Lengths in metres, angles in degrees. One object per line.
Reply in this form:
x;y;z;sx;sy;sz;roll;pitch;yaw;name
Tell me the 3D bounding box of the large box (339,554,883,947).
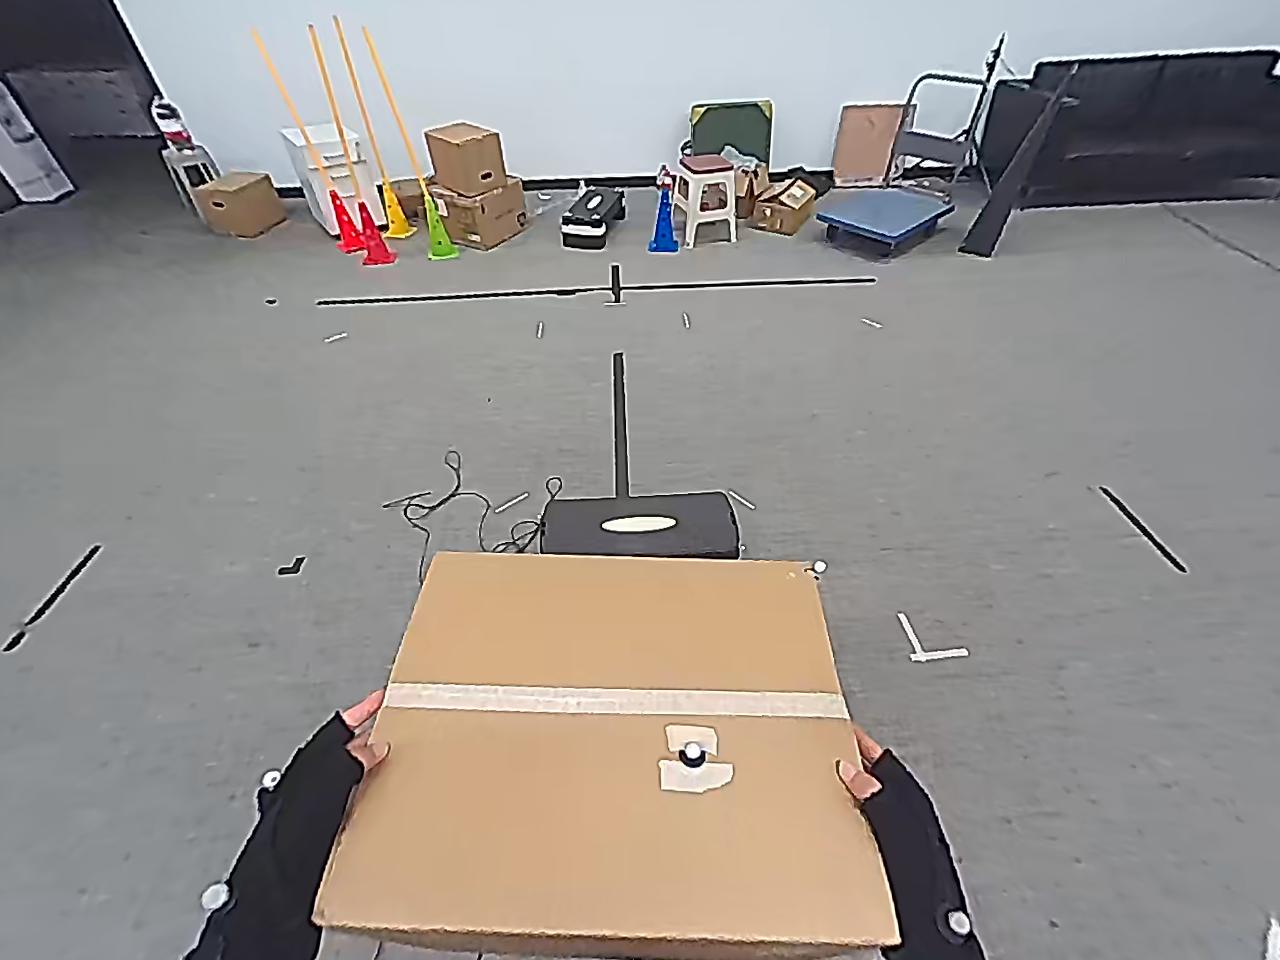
-0.022;0.299;0.596;0.408;0.320;0.320;2;46;0;large box
